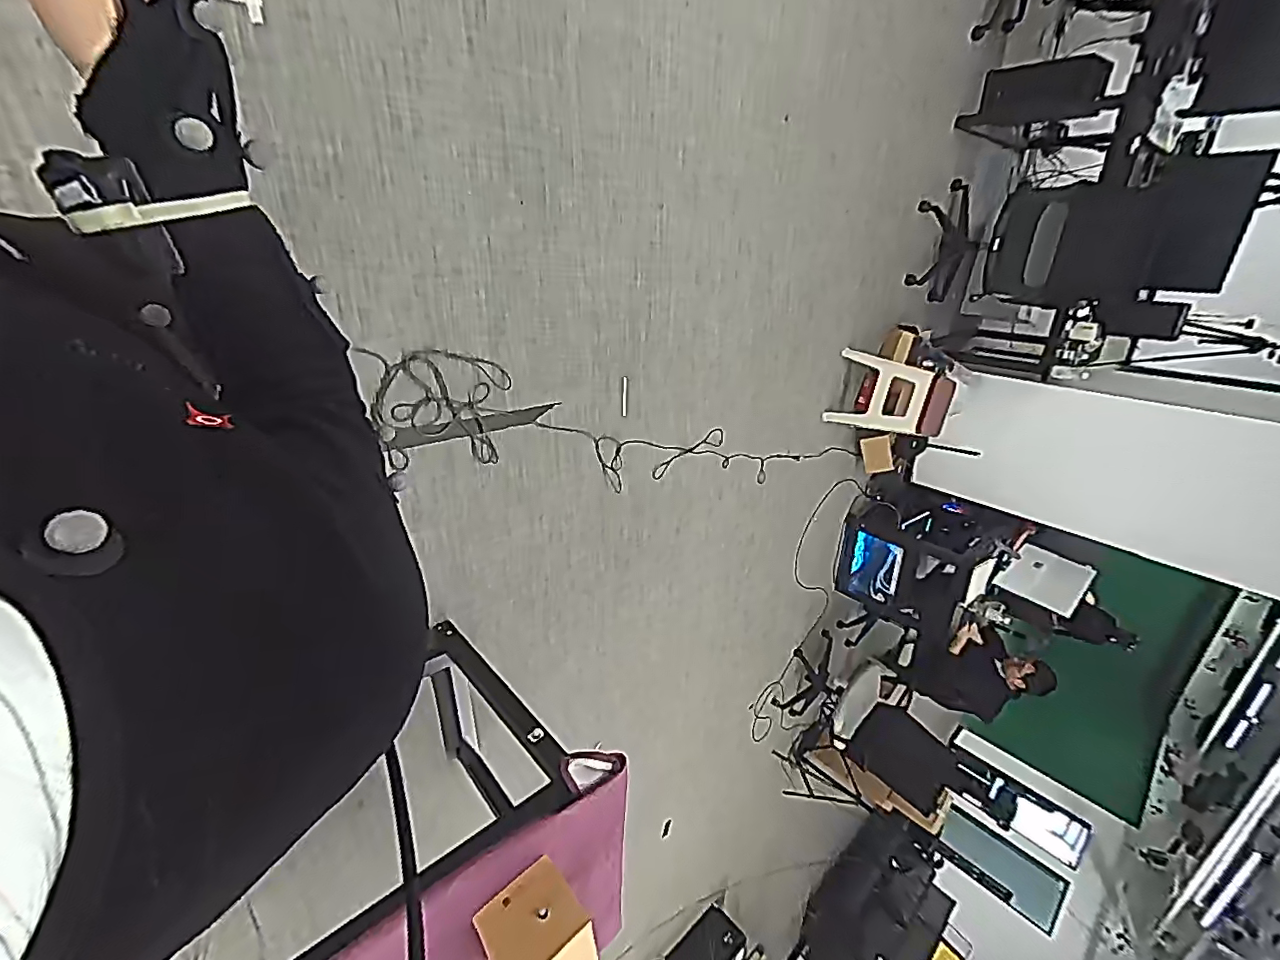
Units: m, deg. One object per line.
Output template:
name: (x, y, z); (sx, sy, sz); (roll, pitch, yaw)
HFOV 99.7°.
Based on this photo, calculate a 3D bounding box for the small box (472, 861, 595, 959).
small box: (-0.210, 0.902, 1.062); (0.168, 0.176, 0.179); (-25, 125, -35)
